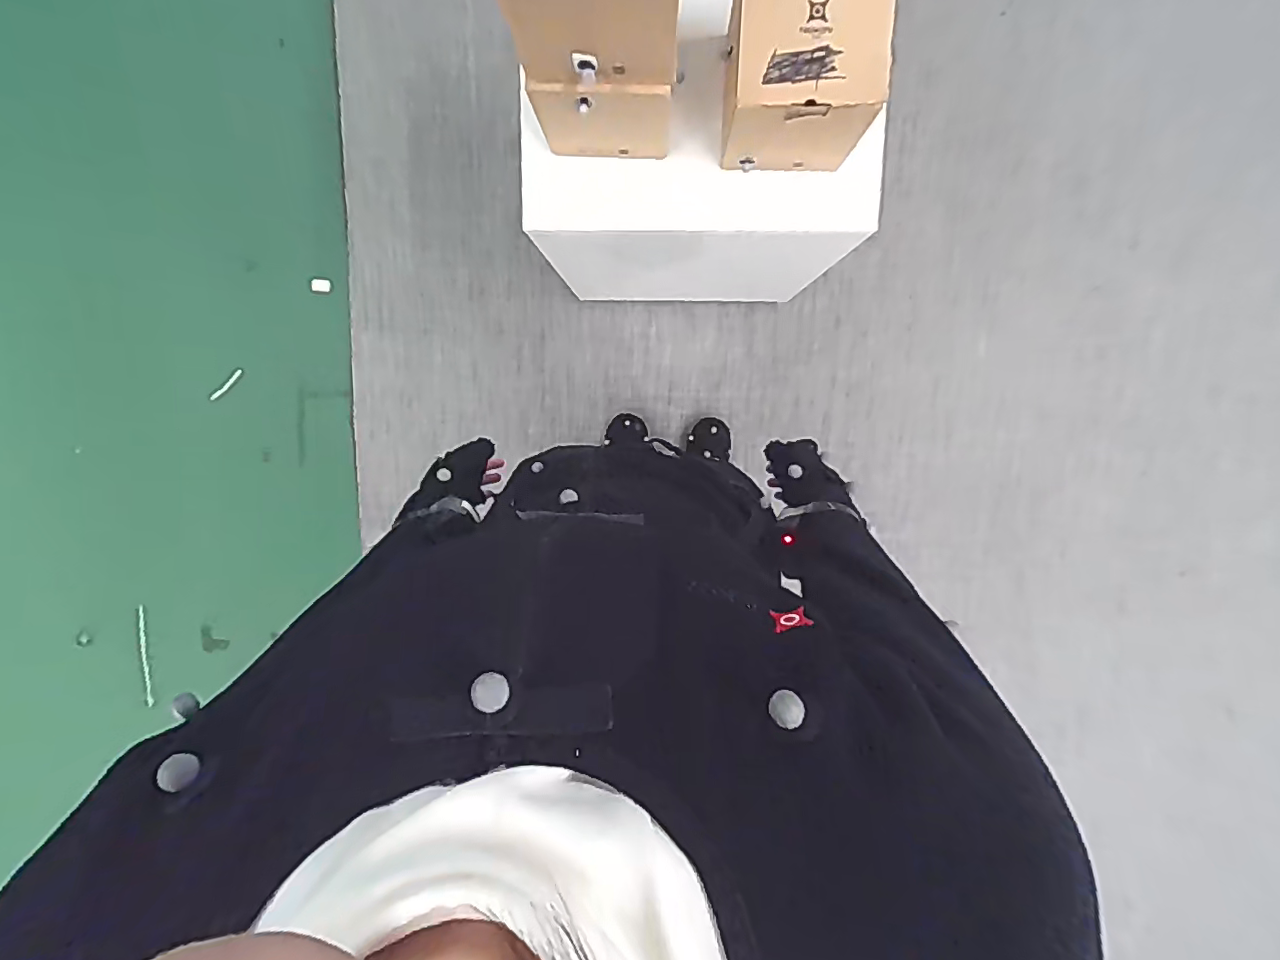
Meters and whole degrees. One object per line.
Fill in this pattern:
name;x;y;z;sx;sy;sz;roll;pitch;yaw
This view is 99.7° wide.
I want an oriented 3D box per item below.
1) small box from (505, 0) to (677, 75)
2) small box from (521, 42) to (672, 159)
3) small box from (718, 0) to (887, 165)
small box;-0.046;-0.518;0.497;0.168;0.176;0.179;1;99;2
small box;-0.044;-0.535;0.674;0.168;0.176;0.179;3;97;3
small box;0.189;-0.514;0.667;0.168;0.176;0.179;2;97;2
